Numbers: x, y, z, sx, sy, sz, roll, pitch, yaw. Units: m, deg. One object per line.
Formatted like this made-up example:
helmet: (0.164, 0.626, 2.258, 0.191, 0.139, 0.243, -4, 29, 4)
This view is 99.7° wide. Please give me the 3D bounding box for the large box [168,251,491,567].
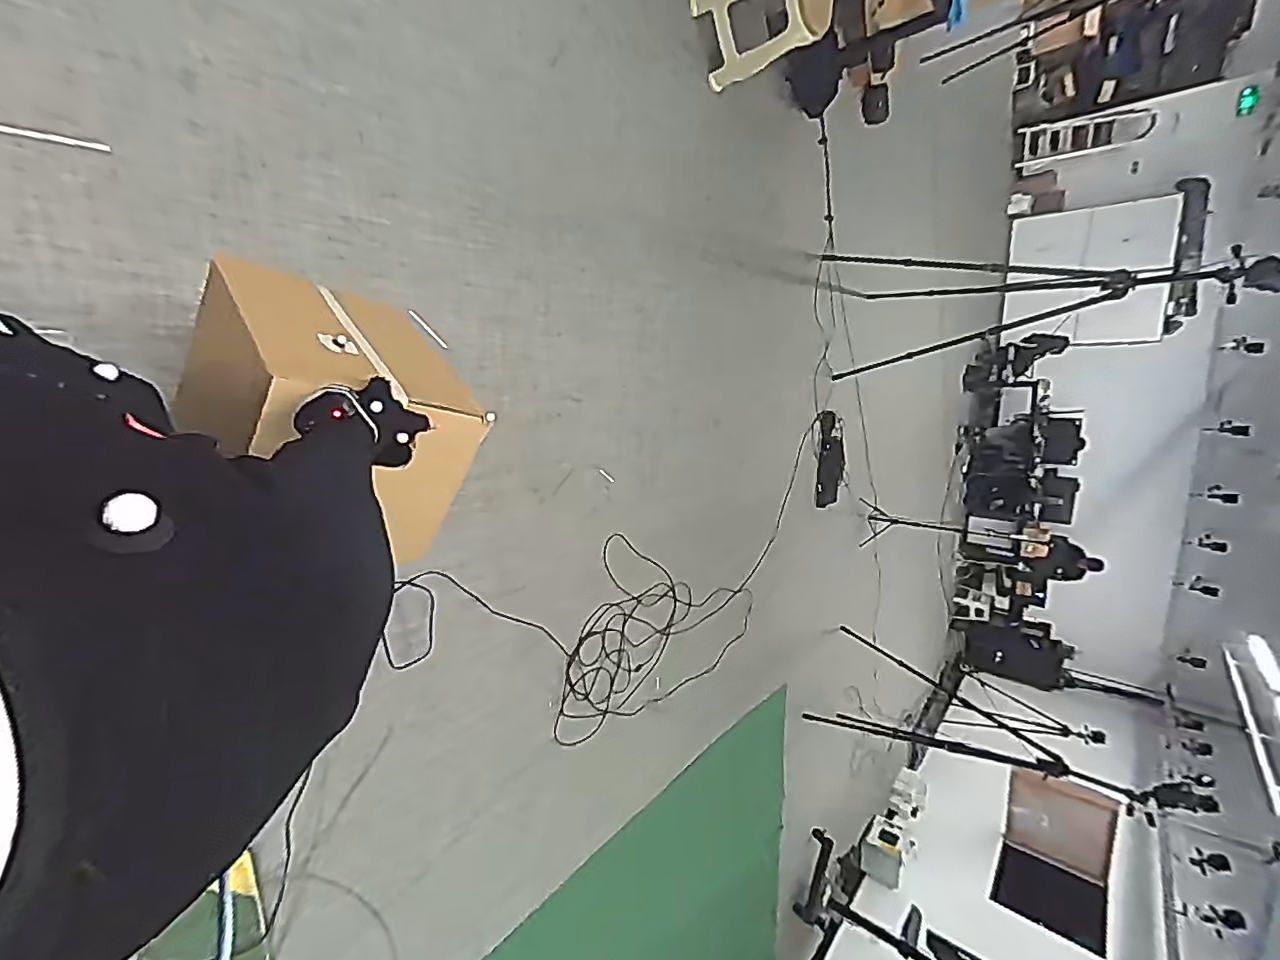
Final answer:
large box: (-0.528, -0.107, 0.903, 0.320, 0.408, 0.320, 7, 122, -52)
